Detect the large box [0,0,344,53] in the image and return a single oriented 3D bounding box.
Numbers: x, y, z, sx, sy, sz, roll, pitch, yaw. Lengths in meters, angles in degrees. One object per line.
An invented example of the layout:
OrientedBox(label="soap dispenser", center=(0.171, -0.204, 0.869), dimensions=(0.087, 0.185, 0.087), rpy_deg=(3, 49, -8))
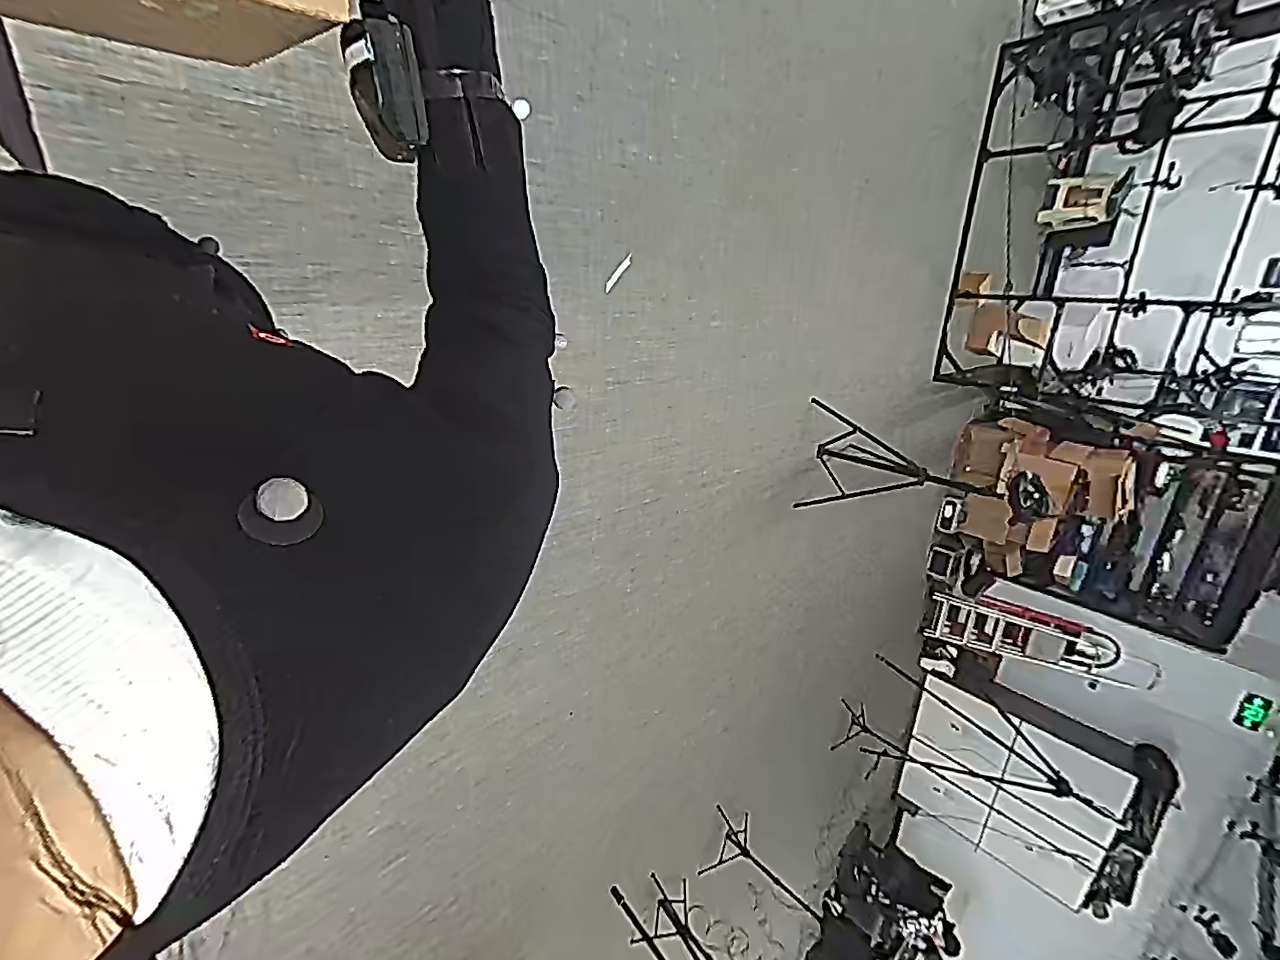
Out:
OrientedBox(label="large box", center=(-0.397, -0.413, 0.209), dimensions=(0.408, 0.320, 0.320), rpy_deg=(-18, 127, -39))
